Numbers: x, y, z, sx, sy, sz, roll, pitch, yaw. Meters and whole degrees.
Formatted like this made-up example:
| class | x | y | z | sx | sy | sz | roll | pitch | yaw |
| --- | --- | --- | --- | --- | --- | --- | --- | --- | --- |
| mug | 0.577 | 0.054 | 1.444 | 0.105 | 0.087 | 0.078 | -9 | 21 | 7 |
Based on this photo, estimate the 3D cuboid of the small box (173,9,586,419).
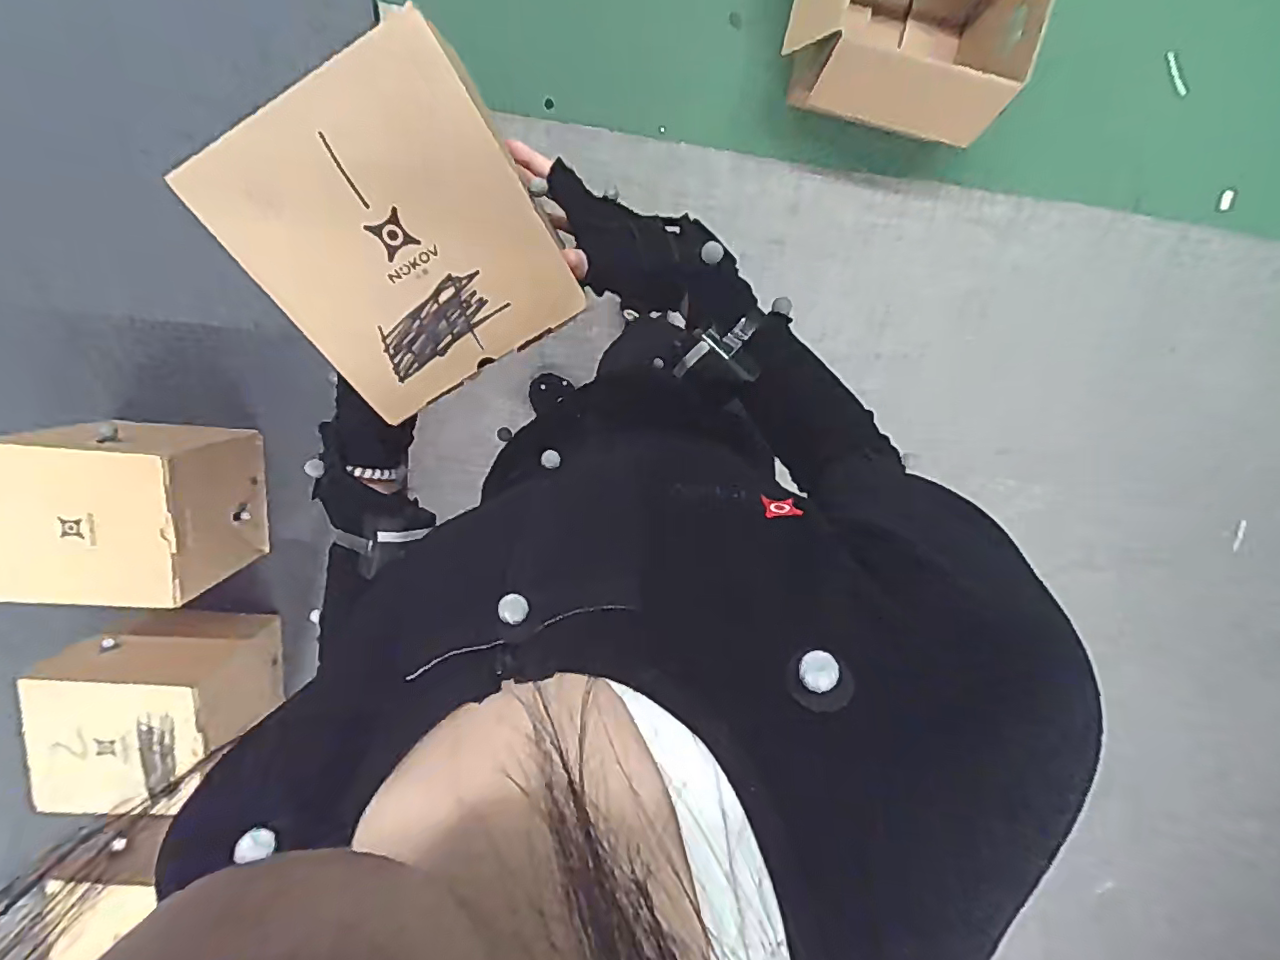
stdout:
| class | x | y | z | sx | sy | sz | roll | pitch | yaw |
| --- | --- | --- | --- | --- | --- | --- | --- | --- | --- |
| small box | -0.155 | -0.180 | 0.392 | 0.168 | 0.176 | 0.179 | -29 | 121 | 6 |

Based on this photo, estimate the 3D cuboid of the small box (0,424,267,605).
| class | x | y | z | sx | sy | sz | roll | pitch | yaw |
| --- | --- | --- | --- | --- | --- | --- | --- | --- | --- |
| small box | -0.566 | 0.029 | 0.616 | 0.179 | 0.176 | 0.168 | 3 | 102 | -7 |

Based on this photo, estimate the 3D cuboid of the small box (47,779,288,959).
| class | x | y | z | sx | sy | sz | roll | pitch | yaw |
| --- | --- | --- | --- | --- | --- | --- | --- | --- | --- |
| small box | -0.606 | 0.527 | 0.714 | 0.179 | 0.176 | 0.168 | 8 | 101 | -6 |
